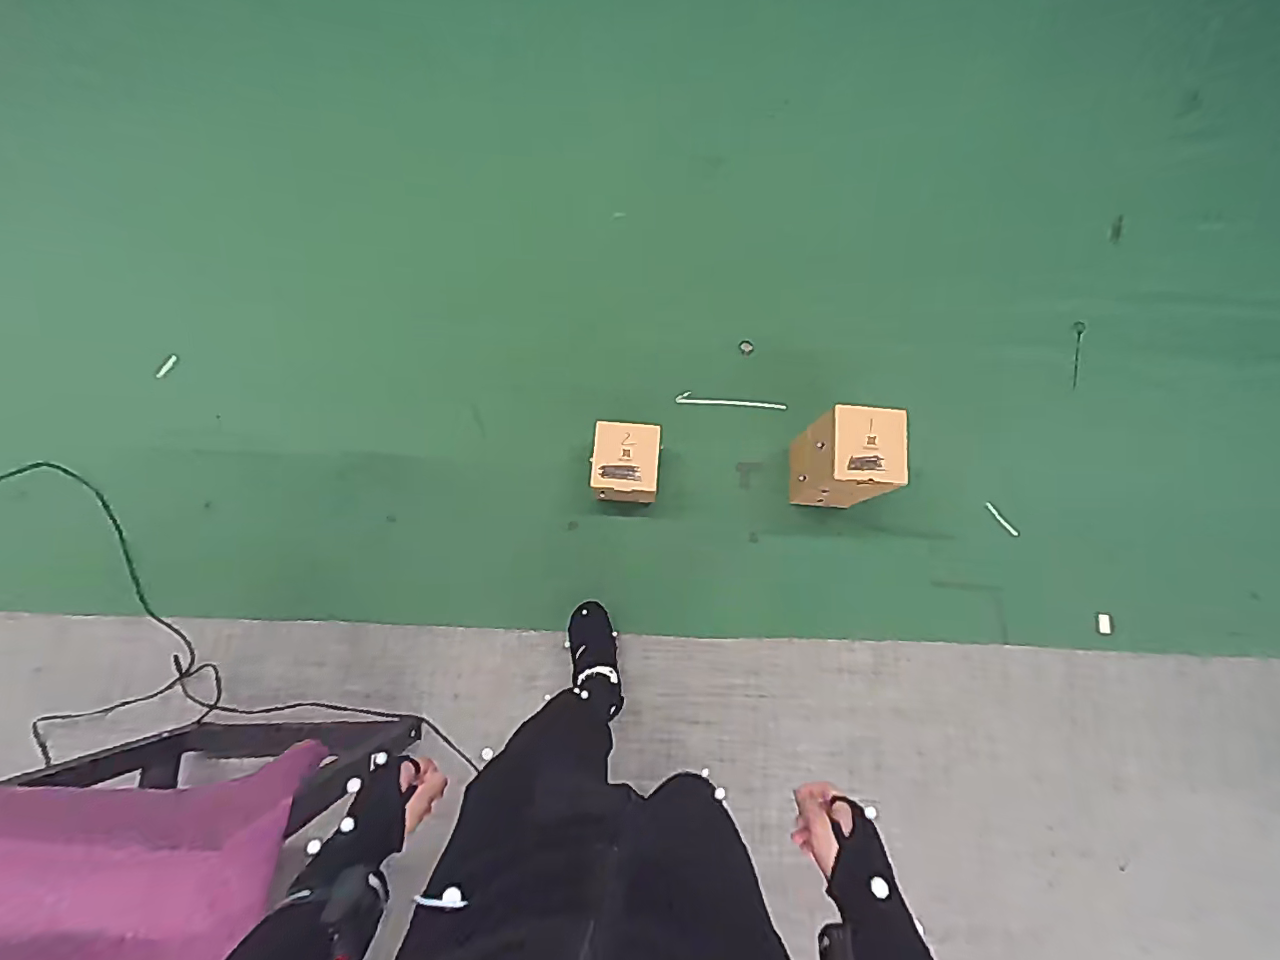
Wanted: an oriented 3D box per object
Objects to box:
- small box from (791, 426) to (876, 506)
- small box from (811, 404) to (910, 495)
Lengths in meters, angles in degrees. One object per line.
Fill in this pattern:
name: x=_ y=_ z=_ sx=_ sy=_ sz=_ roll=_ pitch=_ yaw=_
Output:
small box: x=0.508 y=-0.033 z=1.438 sx=0.168 sy=0.176 sz=0.179 roll=4 pitch=79 yaw=-1
small box: x=0.514 y=-0.065 z=1.277 sx=0.168 sy=0.176 sz=0.179 roll=6 pitch=78 yaw=-1
